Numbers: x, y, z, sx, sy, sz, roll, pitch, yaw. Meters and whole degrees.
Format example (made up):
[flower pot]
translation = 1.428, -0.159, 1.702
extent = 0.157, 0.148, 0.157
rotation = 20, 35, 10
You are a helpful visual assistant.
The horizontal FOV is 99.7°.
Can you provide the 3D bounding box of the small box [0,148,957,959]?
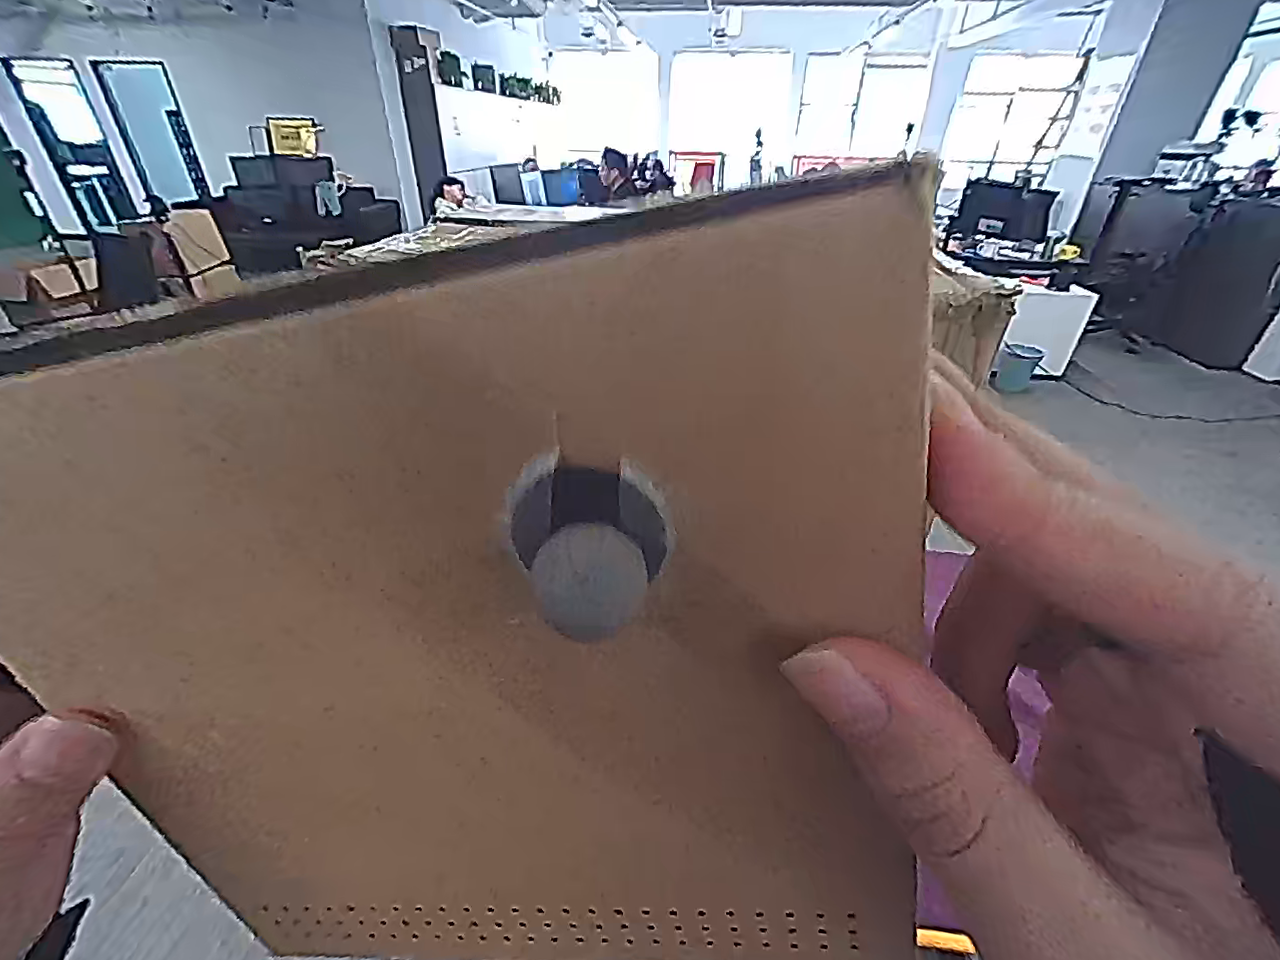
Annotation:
[small box]
translation = -0.025, 0.015, 0.176
extent = 0.179, 0.176, 0.168
rotation = -8, 24, 11
